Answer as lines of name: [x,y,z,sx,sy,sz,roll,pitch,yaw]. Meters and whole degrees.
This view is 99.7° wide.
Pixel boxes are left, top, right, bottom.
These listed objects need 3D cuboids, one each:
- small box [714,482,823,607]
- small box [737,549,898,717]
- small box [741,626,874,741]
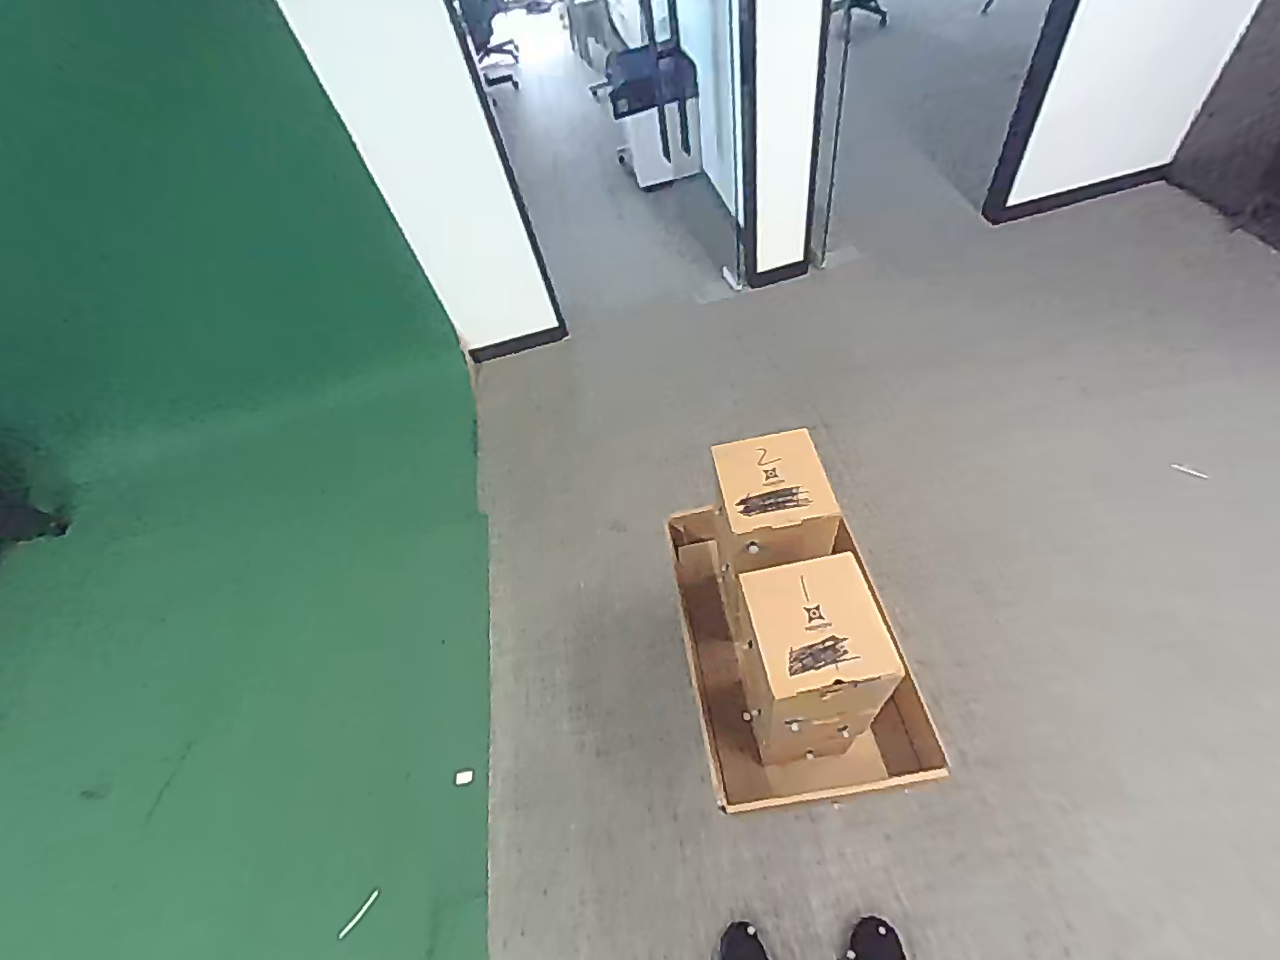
small box: [0.244,0.132,1.061,0.168,0.176,0.179,-12,54,2]
small box: [0.242,0.228,0.778,0.168,0.176,0.179,-11,52,2]
small box: [0.270,0.326,0.907,0.168,0.176,0.179,-11,52,3]
